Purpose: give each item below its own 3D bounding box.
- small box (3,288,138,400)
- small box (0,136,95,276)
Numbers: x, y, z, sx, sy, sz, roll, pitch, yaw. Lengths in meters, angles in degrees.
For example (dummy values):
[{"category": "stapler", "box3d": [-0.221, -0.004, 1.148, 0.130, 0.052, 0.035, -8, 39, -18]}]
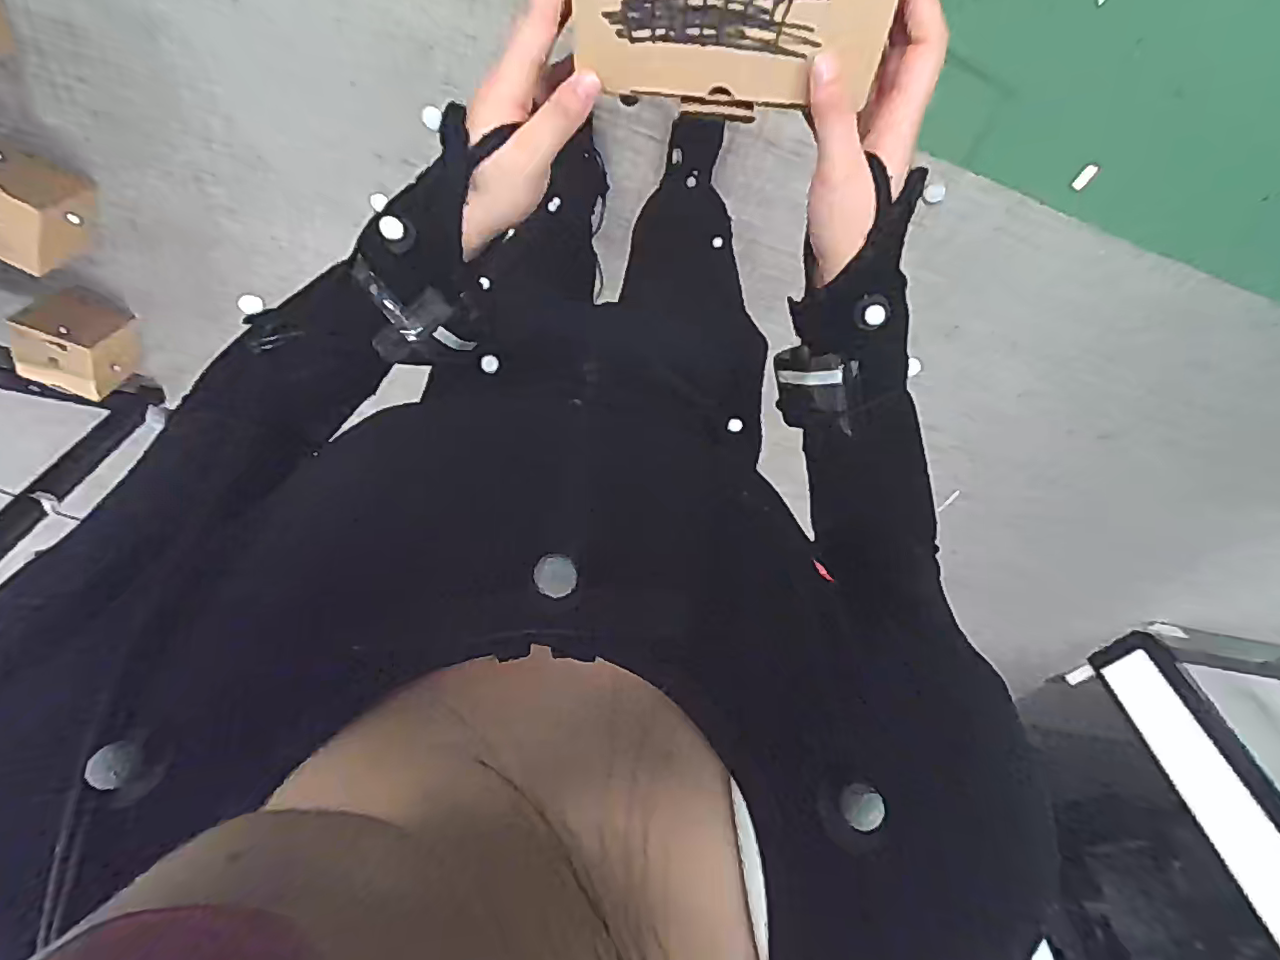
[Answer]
[{"category": "small box", "box3d": [-1.415, -0.342, 1.361, 0.168, 0.176, 0.179, 21, 131, -21]}, {"category": "small box", "box3d": [-1.298, -0.575, 1.132, 0.168, 0.176, 0.179, 29, 129, -25]}]
